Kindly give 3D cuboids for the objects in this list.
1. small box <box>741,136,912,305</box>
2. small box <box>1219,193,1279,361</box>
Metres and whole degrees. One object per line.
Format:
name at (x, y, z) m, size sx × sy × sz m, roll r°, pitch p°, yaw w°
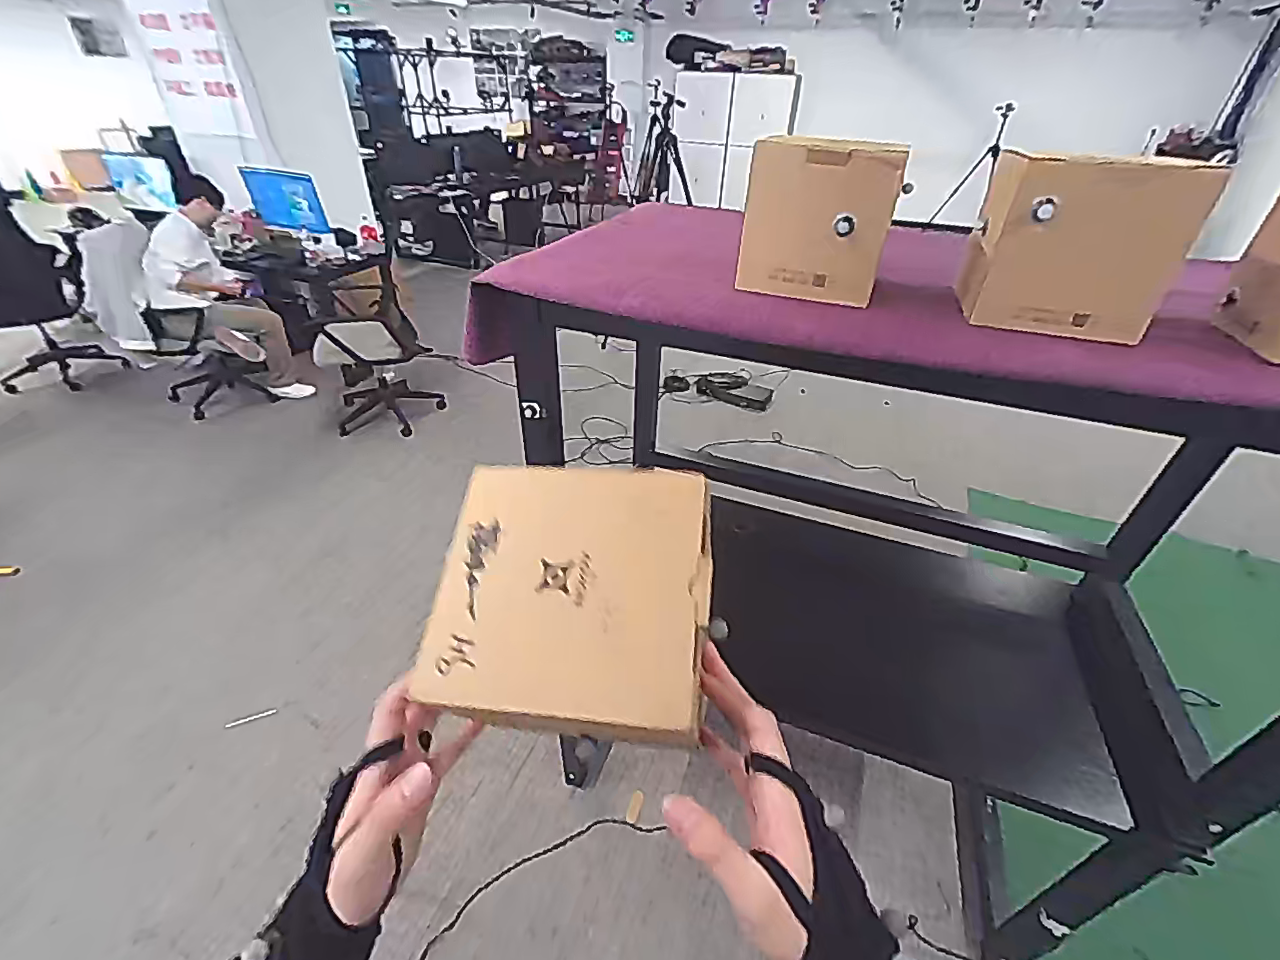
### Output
small box at (0.234, -0.335, 0.693) m, size 0.168 × 0.176 × 0.179 m, roll 16°, pitch 36°, yaw 17°
small box at (0.748, -0.205, 0.537) m, size 0.179 × 0.176 × 0.168 m, roll 15°, pitch 36°, yaw 17°
